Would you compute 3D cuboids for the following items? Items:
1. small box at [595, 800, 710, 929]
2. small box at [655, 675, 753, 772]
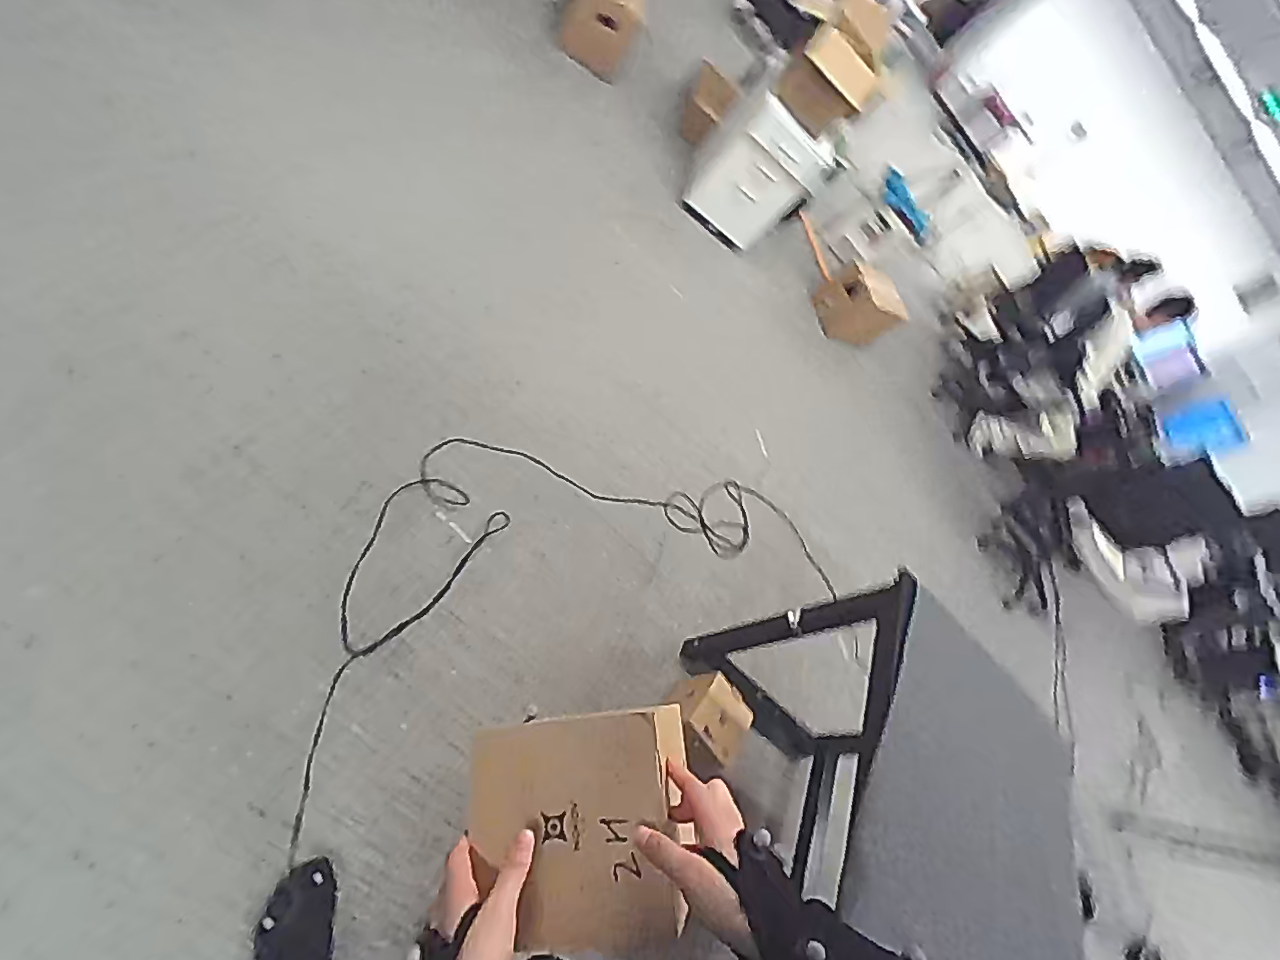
[{"bbox_3d":[0.020,0.871,1.242,0.179,0.176,0.168,-29,87,-46],"label":"small box"},{"bbox_3d":[0.172,0.666,1.478,0.168,0.176,0.179,53,45,-3],"label":"small box"}]
